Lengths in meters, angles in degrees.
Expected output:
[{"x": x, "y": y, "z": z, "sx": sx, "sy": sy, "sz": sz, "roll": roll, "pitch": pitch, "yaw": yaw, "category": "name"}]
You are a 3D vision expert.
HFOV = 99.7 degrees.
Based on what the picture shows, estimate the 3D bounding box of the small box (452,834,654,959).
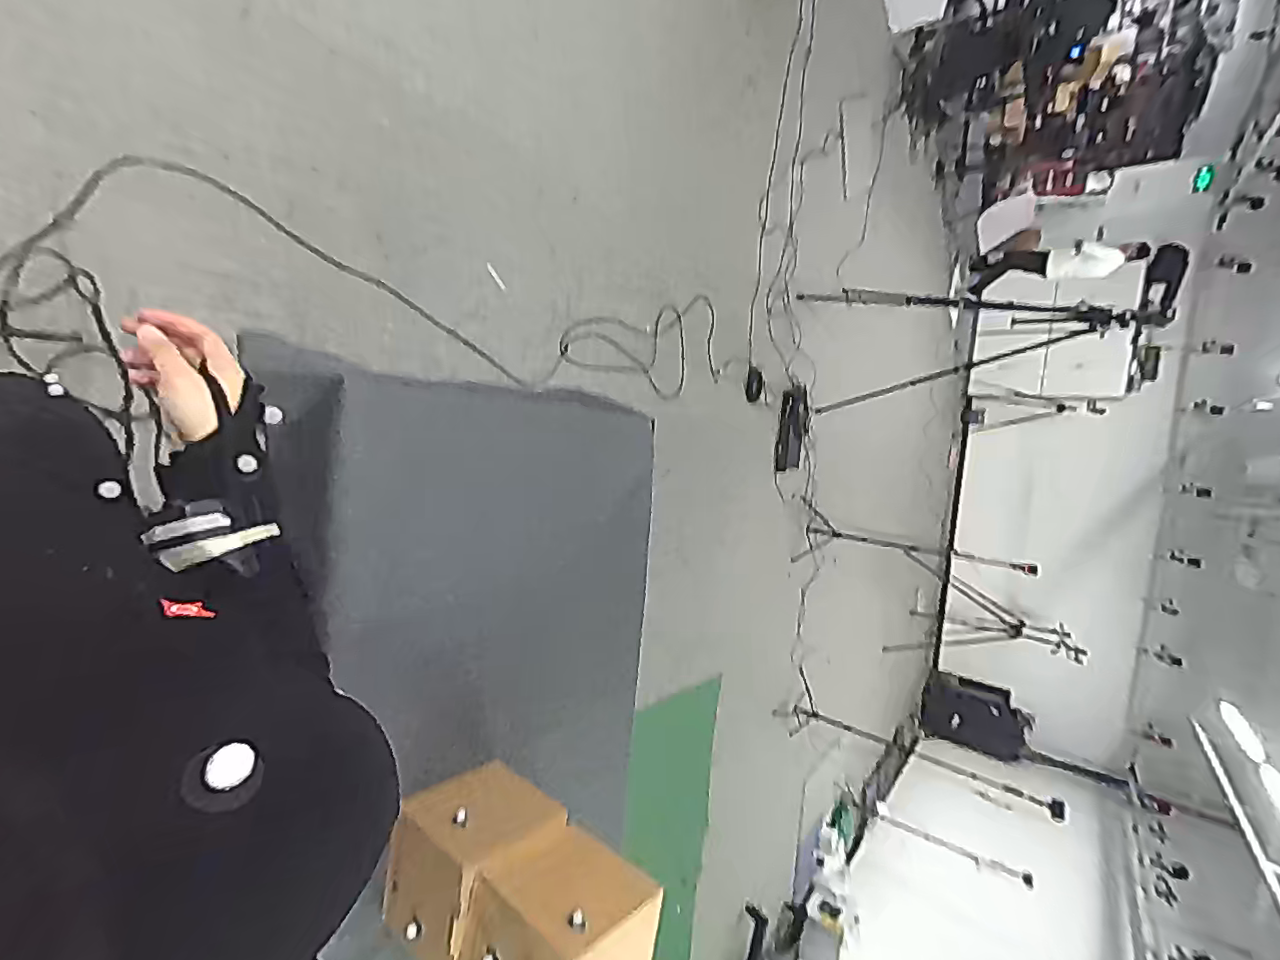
[{"x": -0.112, "y": 0.588, "z": 0.674, "sx": 0.179, "sy": 0.176, "sz": 0.168, "roll": 13, "pitch": 87, "yaw": -52, "category": "small box"}]

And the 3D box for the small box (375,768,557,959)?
[{"x": -0.245, "y": 0.546, "z": 0.760, "sx": 0.179, "sy": 0.176, "sz": 0.168, "roll": 6, "pitch": 94, "yaw": -54, "category": "small box"}]
